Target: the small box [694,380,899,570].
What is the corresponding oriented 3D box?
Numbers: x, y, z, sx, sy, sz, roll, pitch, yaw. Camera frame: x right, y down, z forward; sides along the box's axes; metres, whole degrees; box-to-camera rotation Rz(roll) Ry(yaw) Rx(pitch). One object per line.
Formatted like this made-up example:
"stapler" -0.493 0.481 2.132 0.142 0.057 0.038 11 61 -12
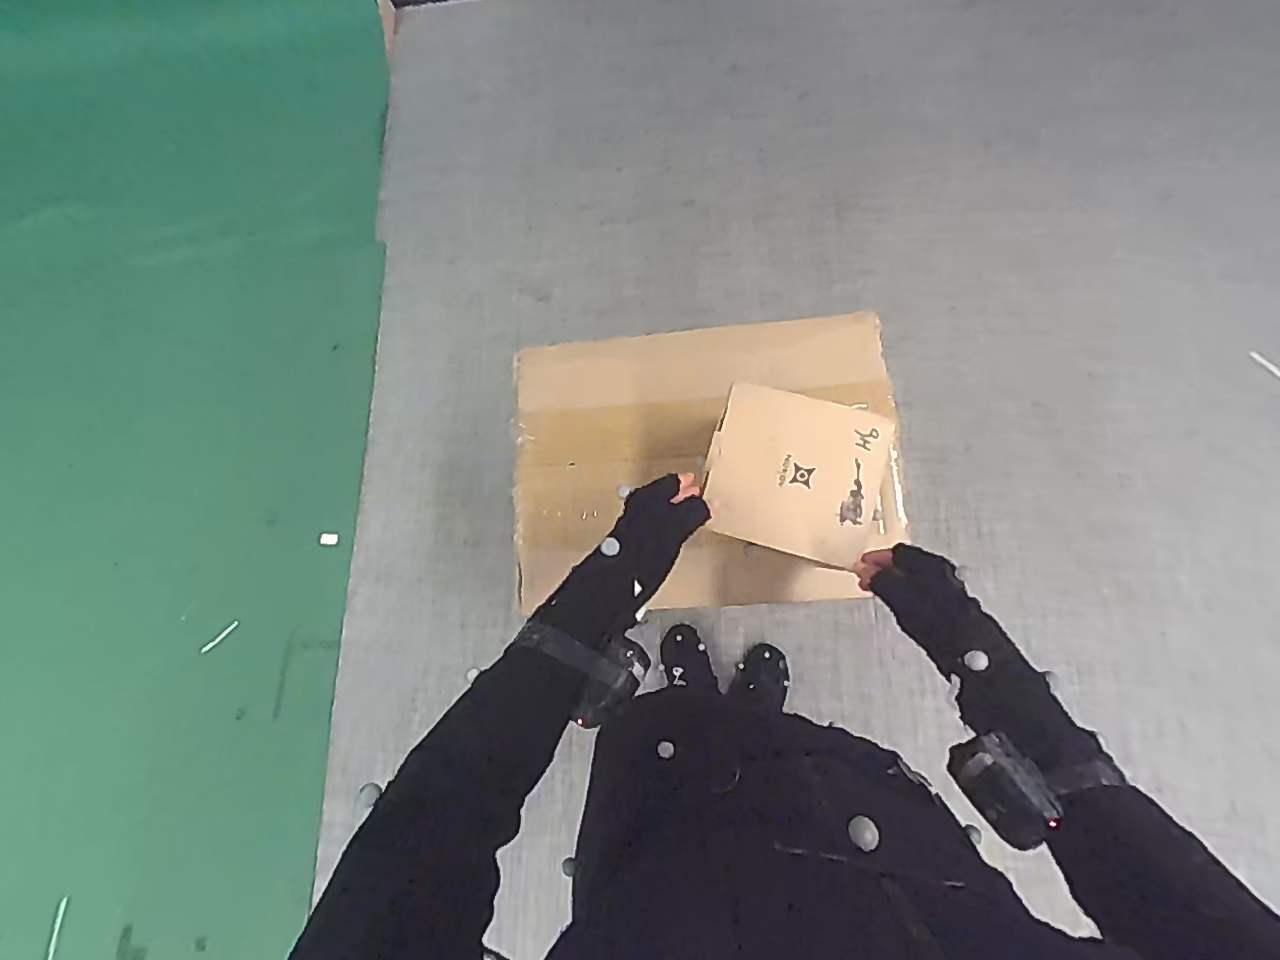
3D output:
"small box" 0.173 0.003 0.648 0.179 0.176 0.168 18 85 8
